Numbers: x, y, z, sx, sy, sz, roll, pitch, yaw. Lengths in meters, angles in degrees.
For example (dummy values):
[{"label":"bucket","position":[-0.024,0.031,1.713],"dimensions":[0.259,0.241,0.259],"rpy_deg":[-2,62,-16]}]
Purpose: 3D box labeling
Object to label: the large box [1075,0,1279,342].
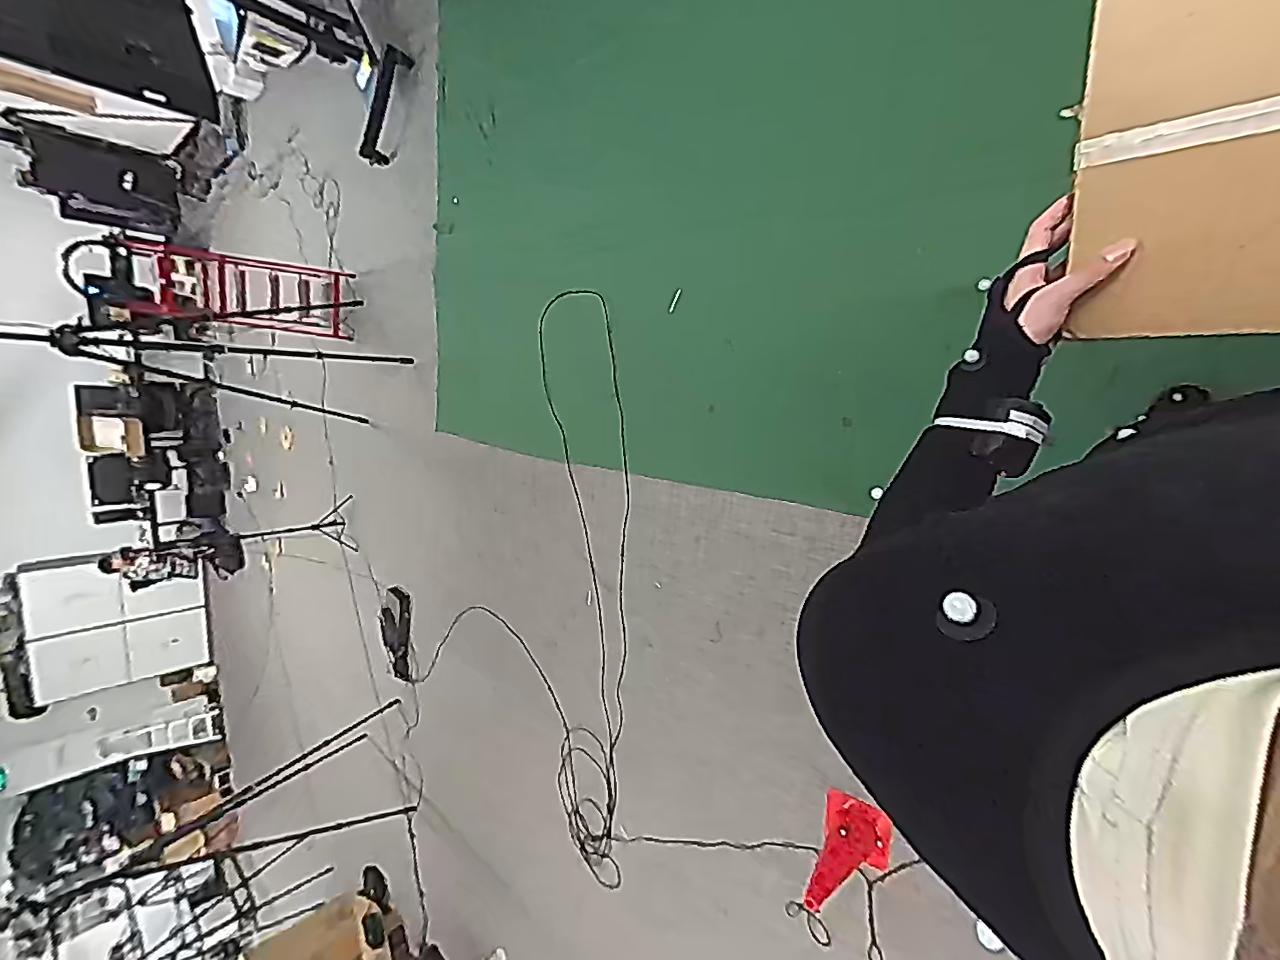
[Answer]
[{"label":"large box","position":[0.631,-0.302,0.433],"dimensions":[0.408,0.320,0.320],"rpy_deg":[9,116,43]}]
